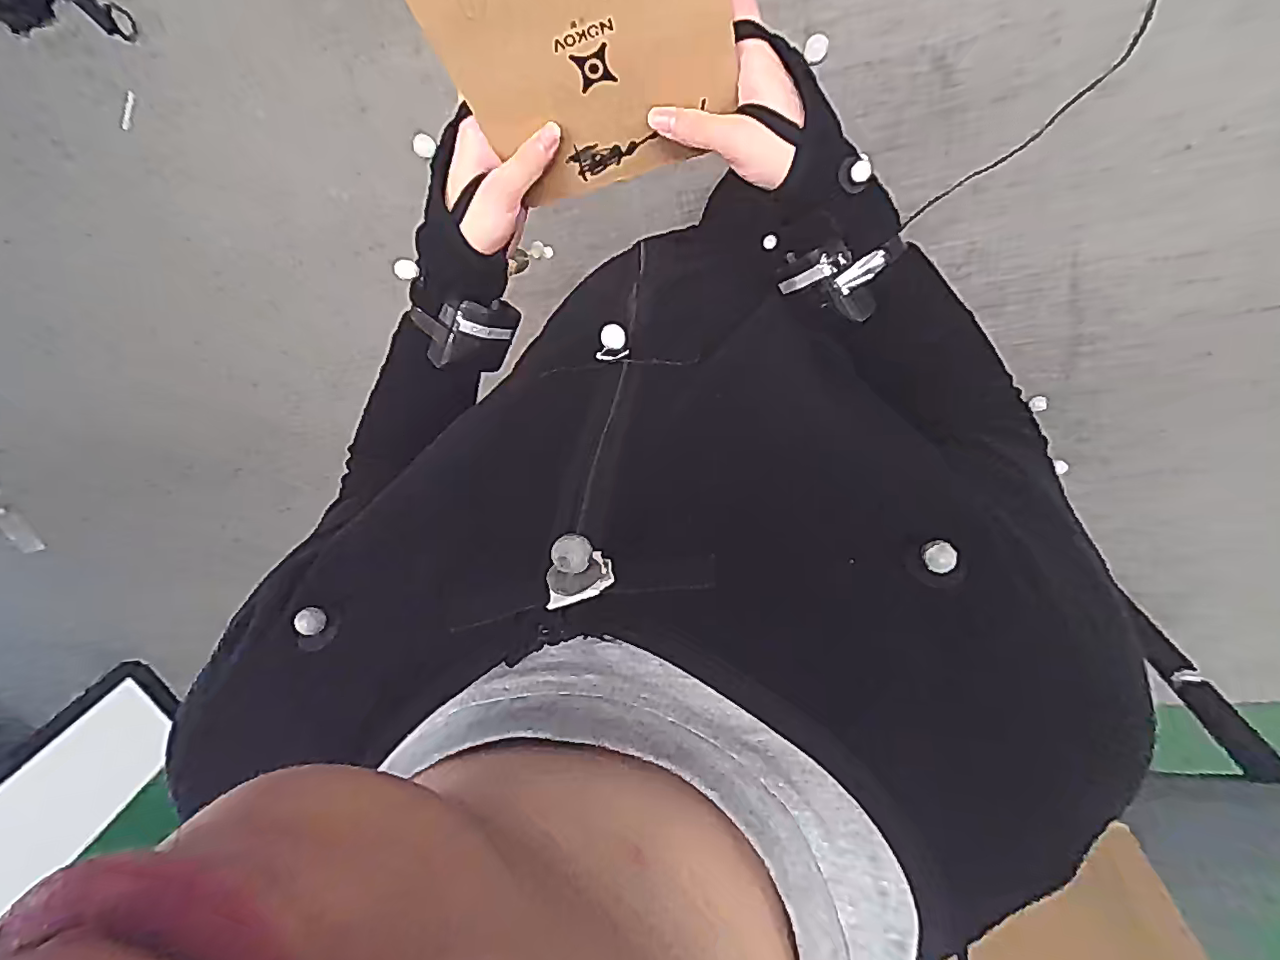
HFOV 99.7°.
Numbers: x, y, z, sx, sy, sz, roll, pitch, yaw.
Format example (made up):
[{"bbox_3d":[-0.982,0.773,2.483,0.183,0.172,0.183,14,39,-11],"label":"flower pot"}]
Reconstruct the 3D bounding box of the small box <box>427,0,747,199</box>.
[{"bbox_3d":[-0.031,-0.330,0.345,0.168,0.176,0.179,-9,158,13],"label":"small box"}]
